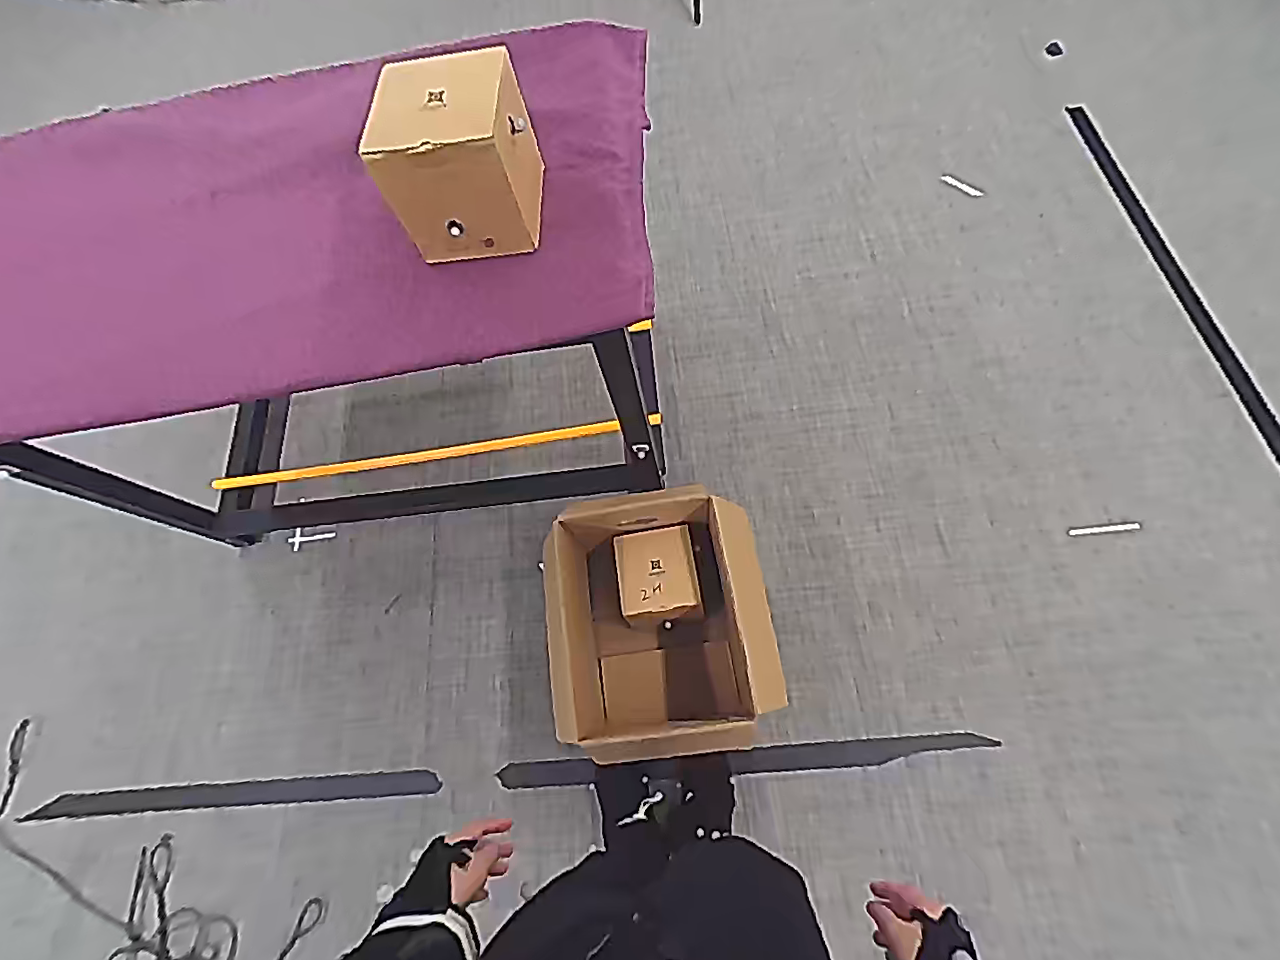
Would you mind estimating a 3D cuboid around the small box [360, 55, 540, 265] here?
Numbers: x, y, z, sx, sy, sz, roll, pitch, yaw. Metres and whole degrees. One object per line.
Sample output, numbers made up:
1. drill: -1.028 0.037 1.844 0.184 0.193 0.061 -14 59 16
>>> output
1. small box: -0.240 -0.423 0.731 0.168 0.176 0.179 -4 67 7
